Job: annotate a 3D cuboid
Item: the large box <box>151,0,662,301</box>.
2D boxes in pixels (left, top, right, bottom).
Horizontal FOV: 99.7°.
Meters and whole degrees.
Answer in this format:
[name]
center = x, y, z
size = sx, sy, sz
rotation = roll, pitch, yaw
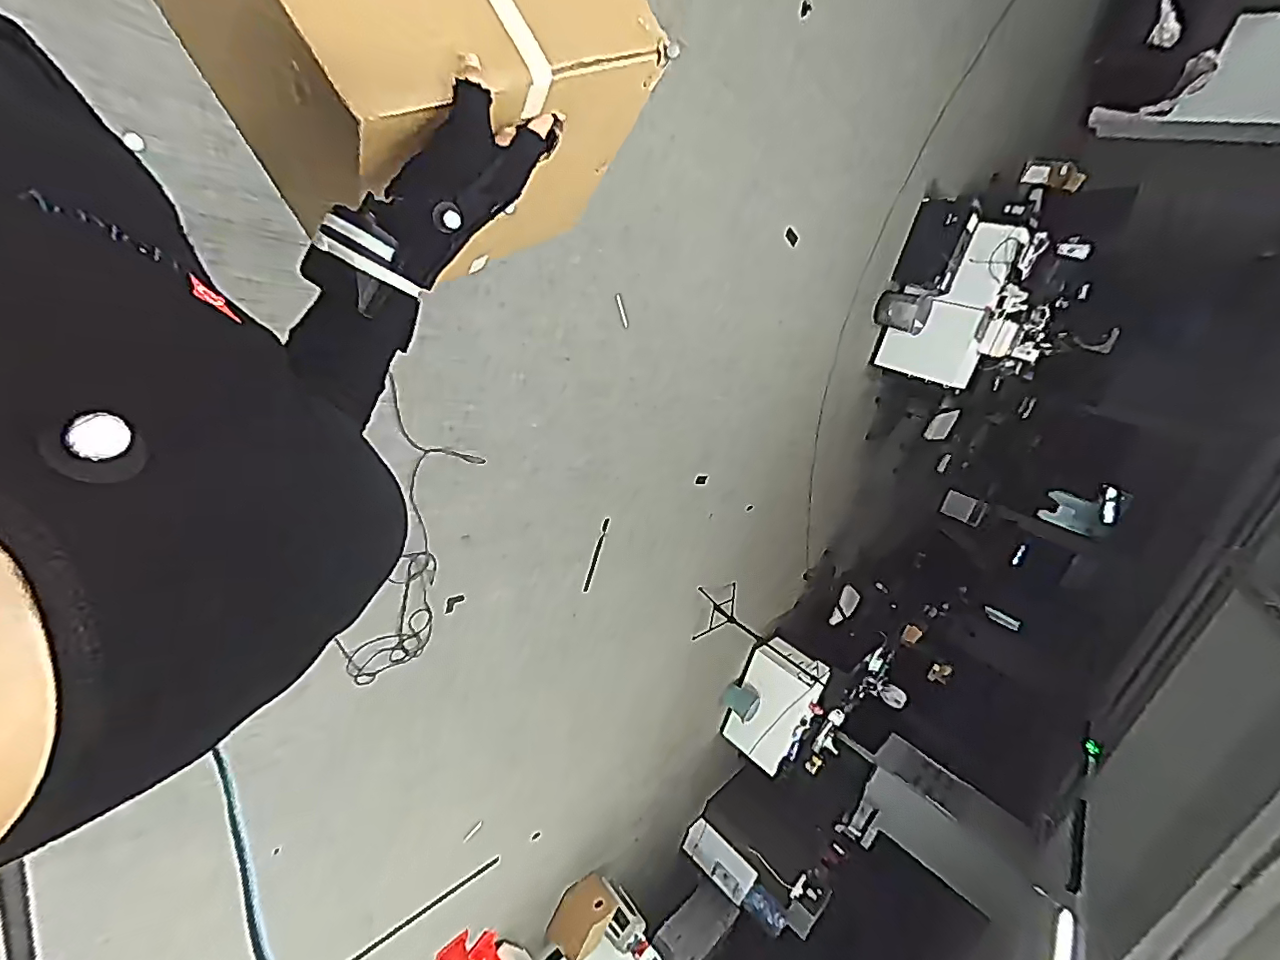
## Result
[large box]
center = -0.260, -0.473, 0.554
size = 0.320, 0.320, 0.408
rotation = -36, 98, -27
